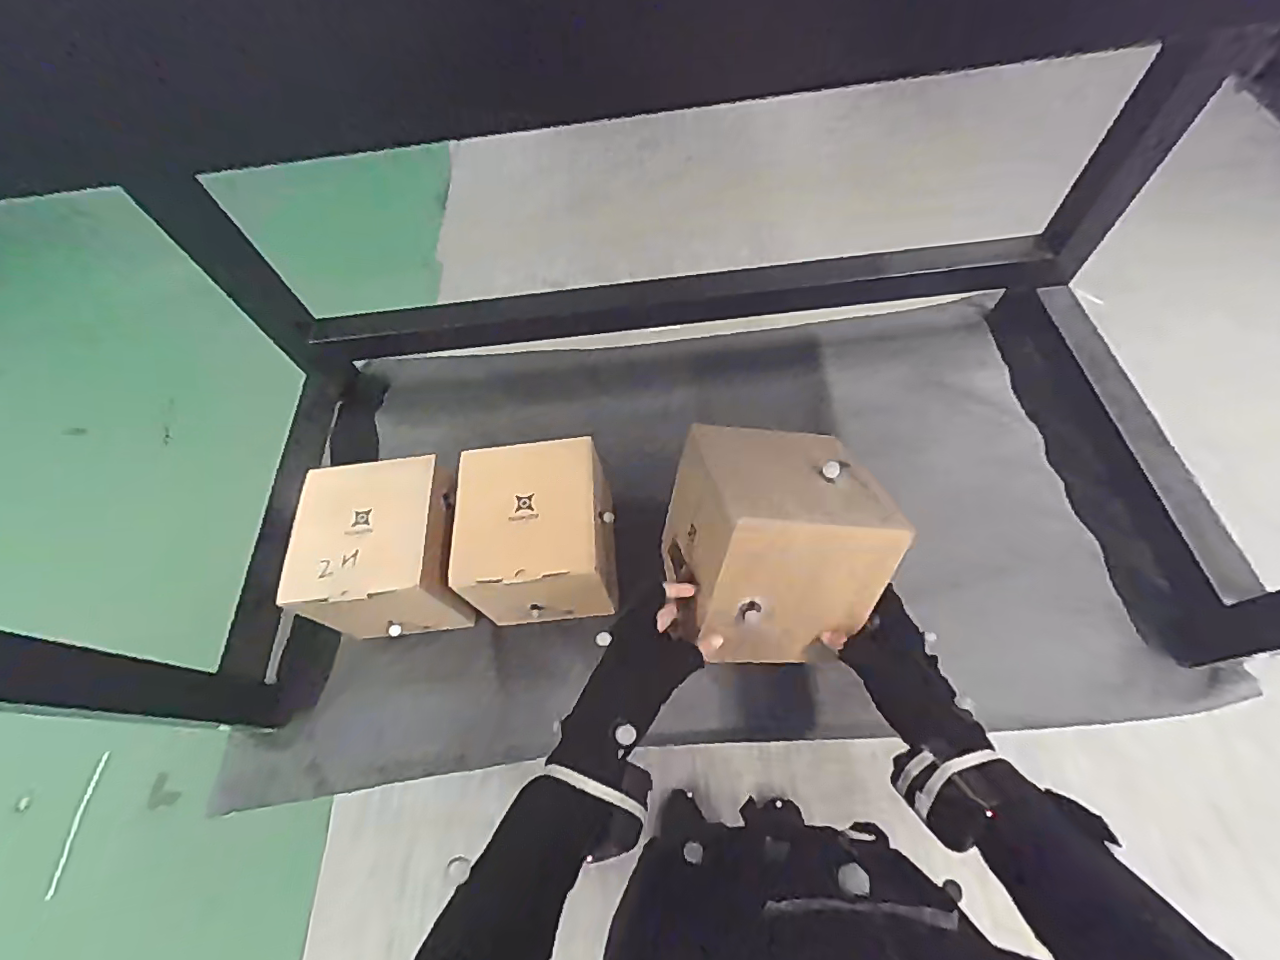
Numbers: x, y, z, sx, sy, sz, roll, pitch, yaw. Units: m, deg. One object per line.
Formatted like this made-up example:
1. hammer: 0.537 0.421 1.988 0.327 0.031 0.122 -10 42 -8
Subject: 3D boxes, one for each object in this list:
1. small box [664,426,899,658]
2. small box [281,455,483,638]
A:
1. small box: 0.129 0.063 0.553 0.176 0.179 0.168 2 35 -10
2. small box: -0.314 0.091 0.701 0.168 0.176 0.179 -7 60 3
